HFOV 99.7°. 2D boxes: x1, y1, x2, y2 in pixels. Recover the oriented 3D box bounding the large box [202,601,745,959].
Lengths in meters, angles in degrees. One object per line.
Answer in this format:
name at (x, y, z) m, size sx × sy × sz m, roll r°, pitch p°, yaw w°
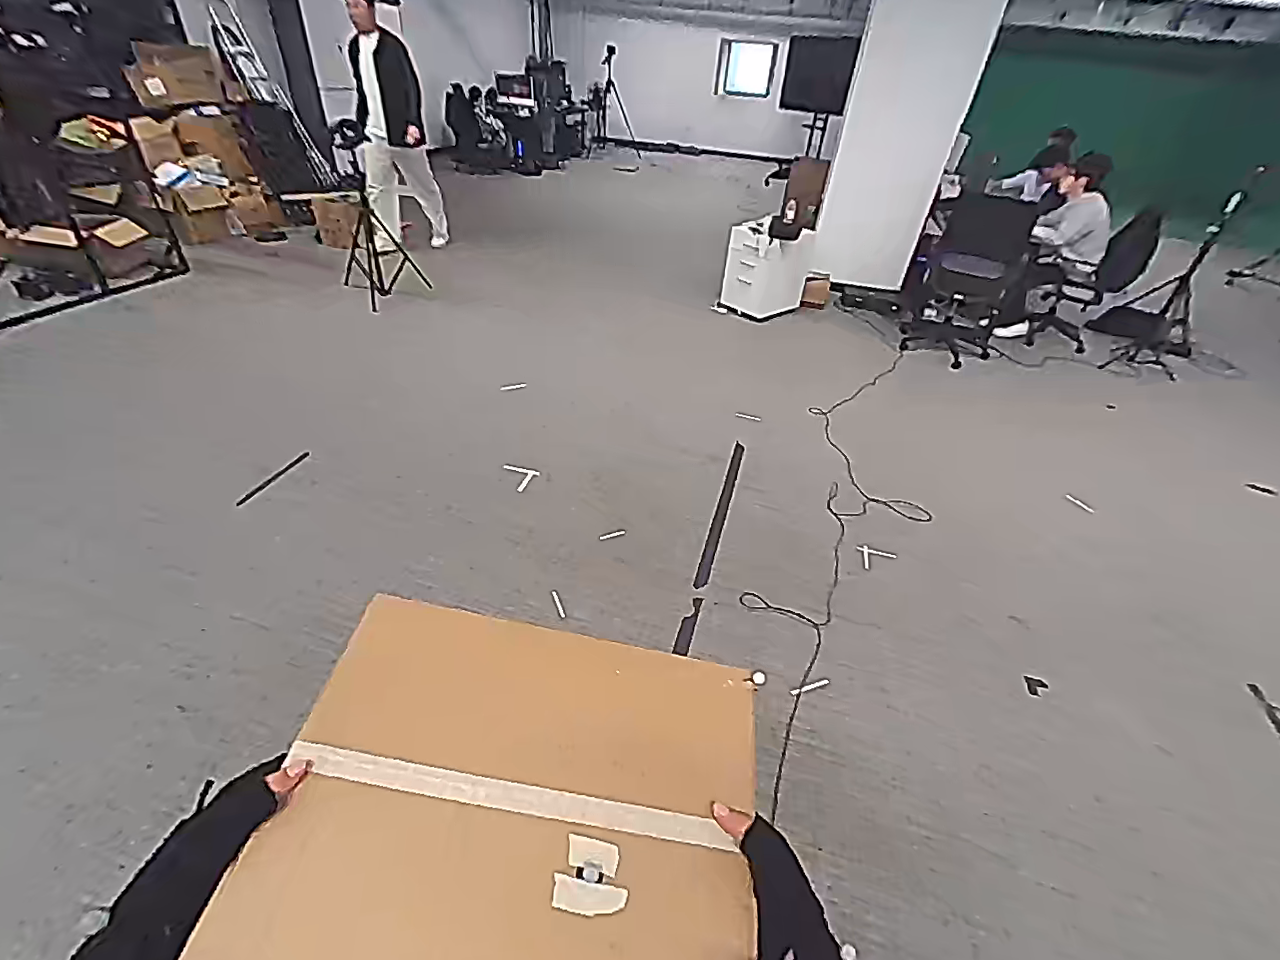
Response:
large box at (-0.126, 0.375, 0.590) m, size 0.408 × 0.320 × 0.320 m, roll 13°, pitch 48°, yaw -2°
